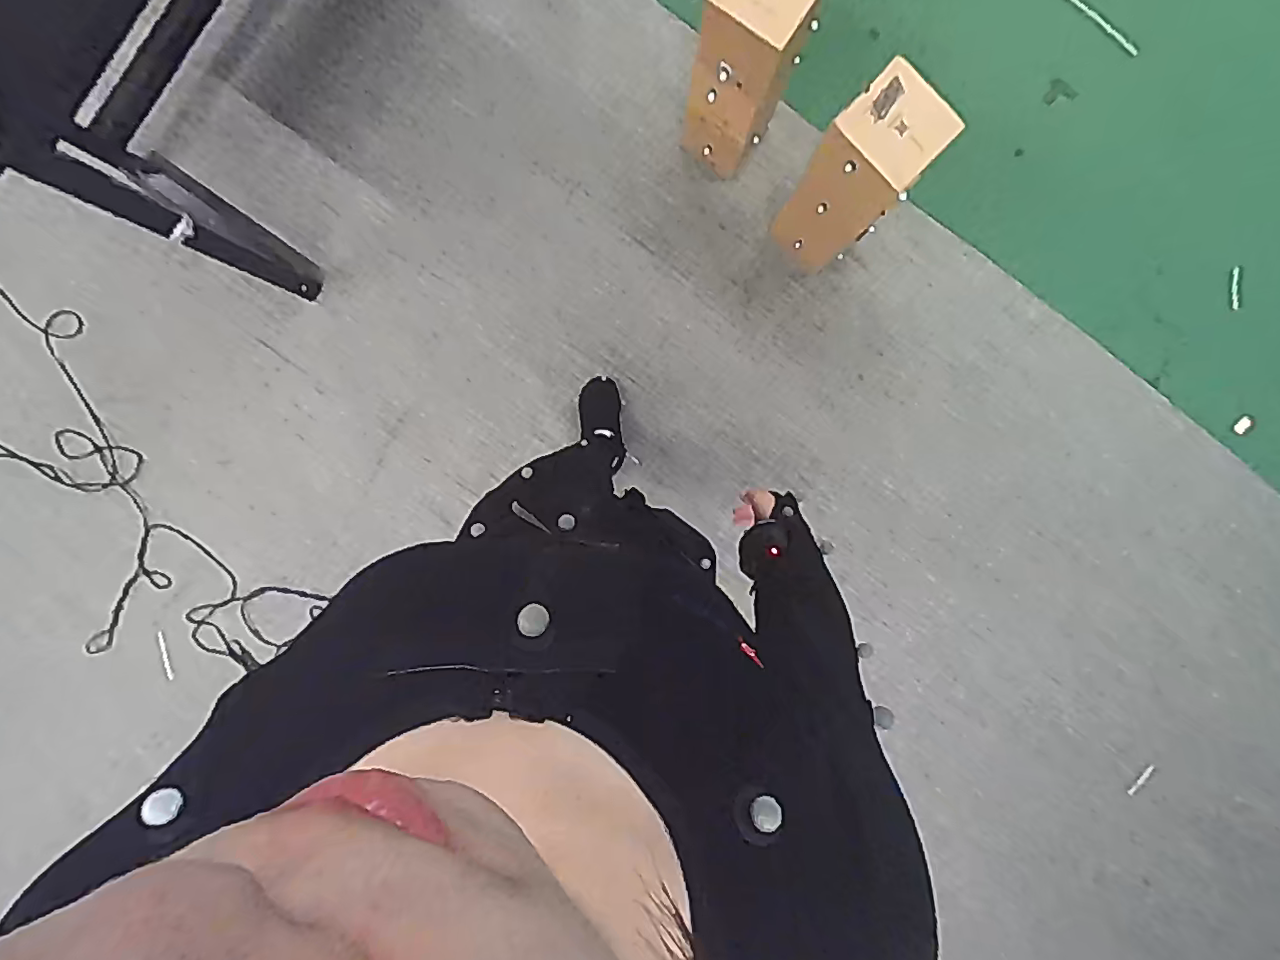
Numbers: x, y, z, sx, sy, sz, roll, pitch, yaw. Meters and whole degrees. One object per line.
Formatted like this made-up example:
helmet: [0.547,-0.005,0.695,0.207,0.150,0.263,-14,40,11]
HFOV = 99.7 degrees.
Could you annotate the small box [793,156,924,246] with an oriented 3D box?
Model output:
small box: [0.464,-0.649,1.179,0.168,0.176,0.179,-43,93,4]

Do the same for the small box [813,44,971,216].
small box: [0.457,-0.640,1.016,0.179,0.176,0.168,45,93,-3]

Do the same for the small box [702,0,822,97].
small box: [0.229,-0.874,1.002,0.168,0.176,0.179,33,94,-1]

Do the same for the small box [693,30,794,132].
small box: [0.227,-0.904,1.163,0.168,0.176,0.179,36,92,-2]
